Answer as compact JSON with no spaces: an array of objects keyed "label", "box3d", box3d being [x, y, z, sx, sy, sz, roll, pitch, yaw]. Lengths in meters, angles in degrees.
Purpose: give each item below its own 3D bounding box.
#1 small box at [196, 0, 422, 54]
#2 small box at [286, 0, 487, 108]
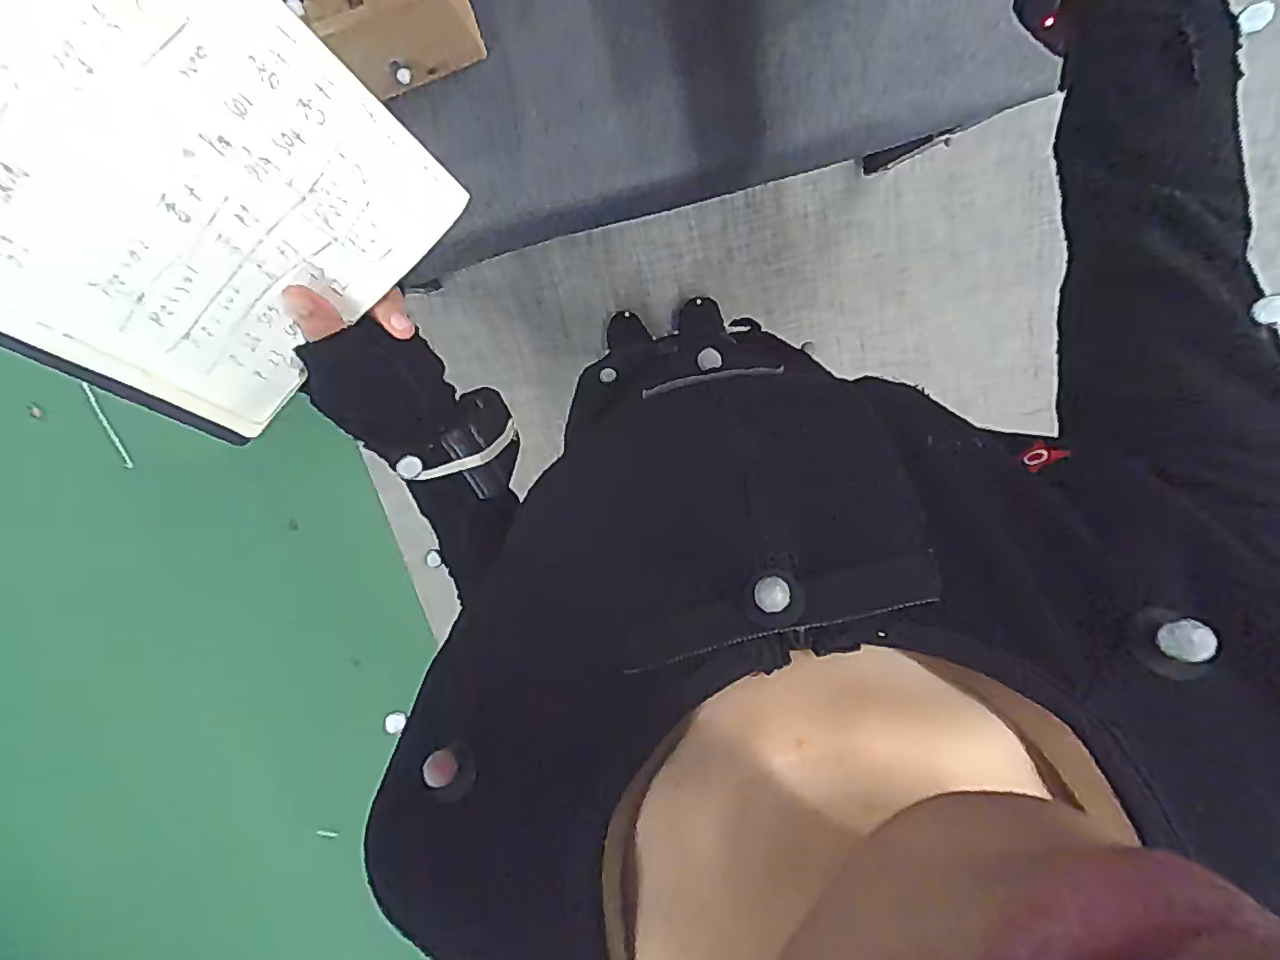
[{"label":"small box","box3d":[-0.265,-0.430,0.346,0.168,0.176,0.179,-16,108,5]},{"label":"small box","box3d":[-0.266,-0.489,0.498,0.168,0.176,0.179,-17,107,7]}]
